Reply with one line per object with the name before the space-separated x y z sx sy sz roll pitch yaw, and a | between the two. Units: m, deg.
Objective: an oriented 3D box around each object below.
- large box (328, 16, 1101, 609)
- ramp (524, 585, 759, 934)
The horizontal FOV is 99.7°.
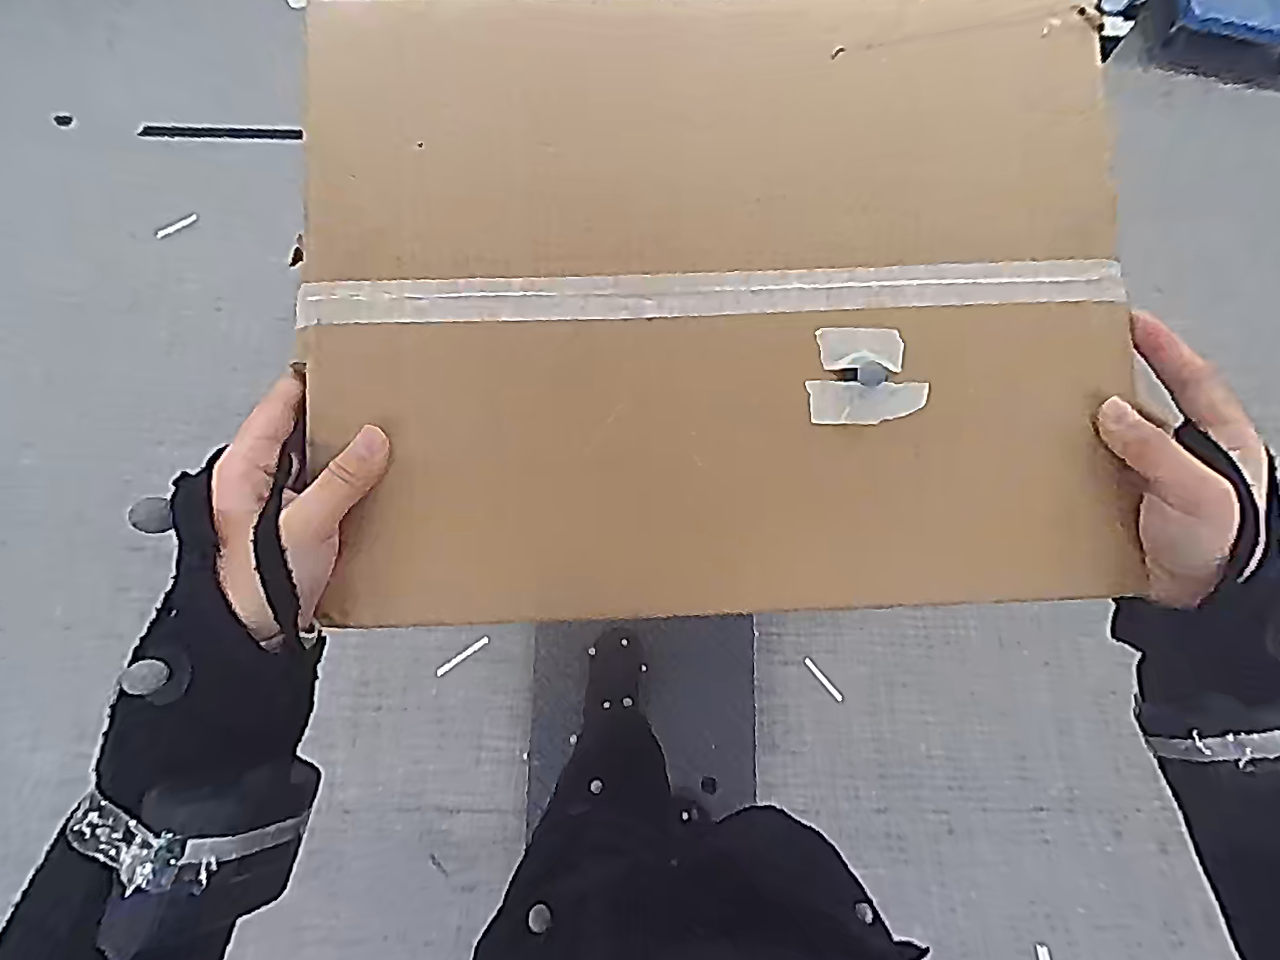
large box | 0.032 -0.088 0.433 0.408 0.320 0.320 -2 87 -2
ramp | 0.013 0.442 1.197 0.509 0.206 0.991 0 70 -2
